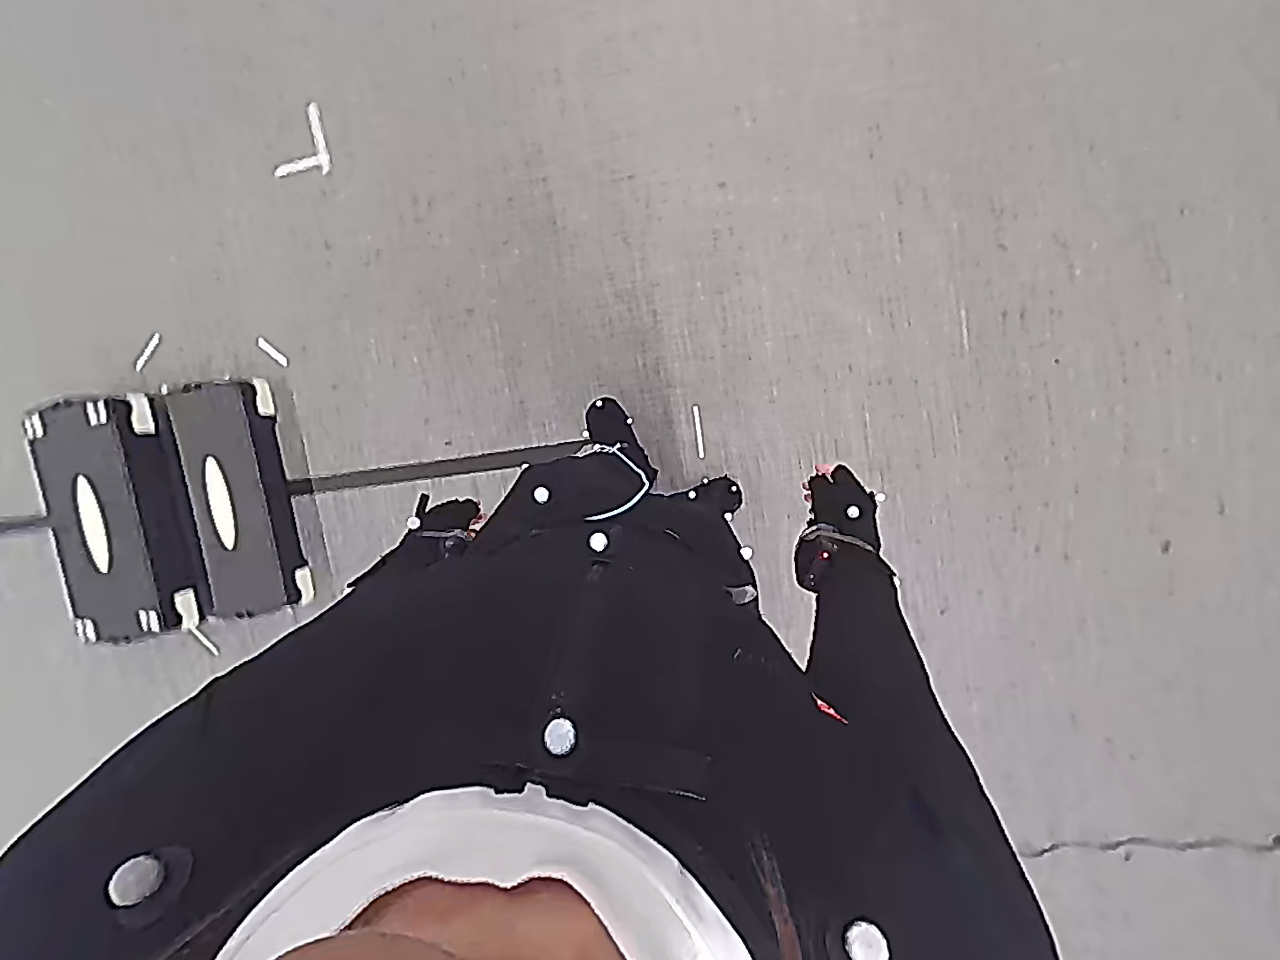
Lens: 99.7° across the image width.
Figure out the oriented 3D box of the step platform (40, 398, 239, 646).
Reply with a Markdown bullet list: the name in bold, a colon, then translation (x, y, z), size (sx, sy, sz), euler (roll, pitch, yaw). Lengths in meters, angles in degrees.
- **step platform**: translation (-1.403, 0.116, 1.527), size (0.286, 0.204, 0.684), euler (-9, 94, 7)
